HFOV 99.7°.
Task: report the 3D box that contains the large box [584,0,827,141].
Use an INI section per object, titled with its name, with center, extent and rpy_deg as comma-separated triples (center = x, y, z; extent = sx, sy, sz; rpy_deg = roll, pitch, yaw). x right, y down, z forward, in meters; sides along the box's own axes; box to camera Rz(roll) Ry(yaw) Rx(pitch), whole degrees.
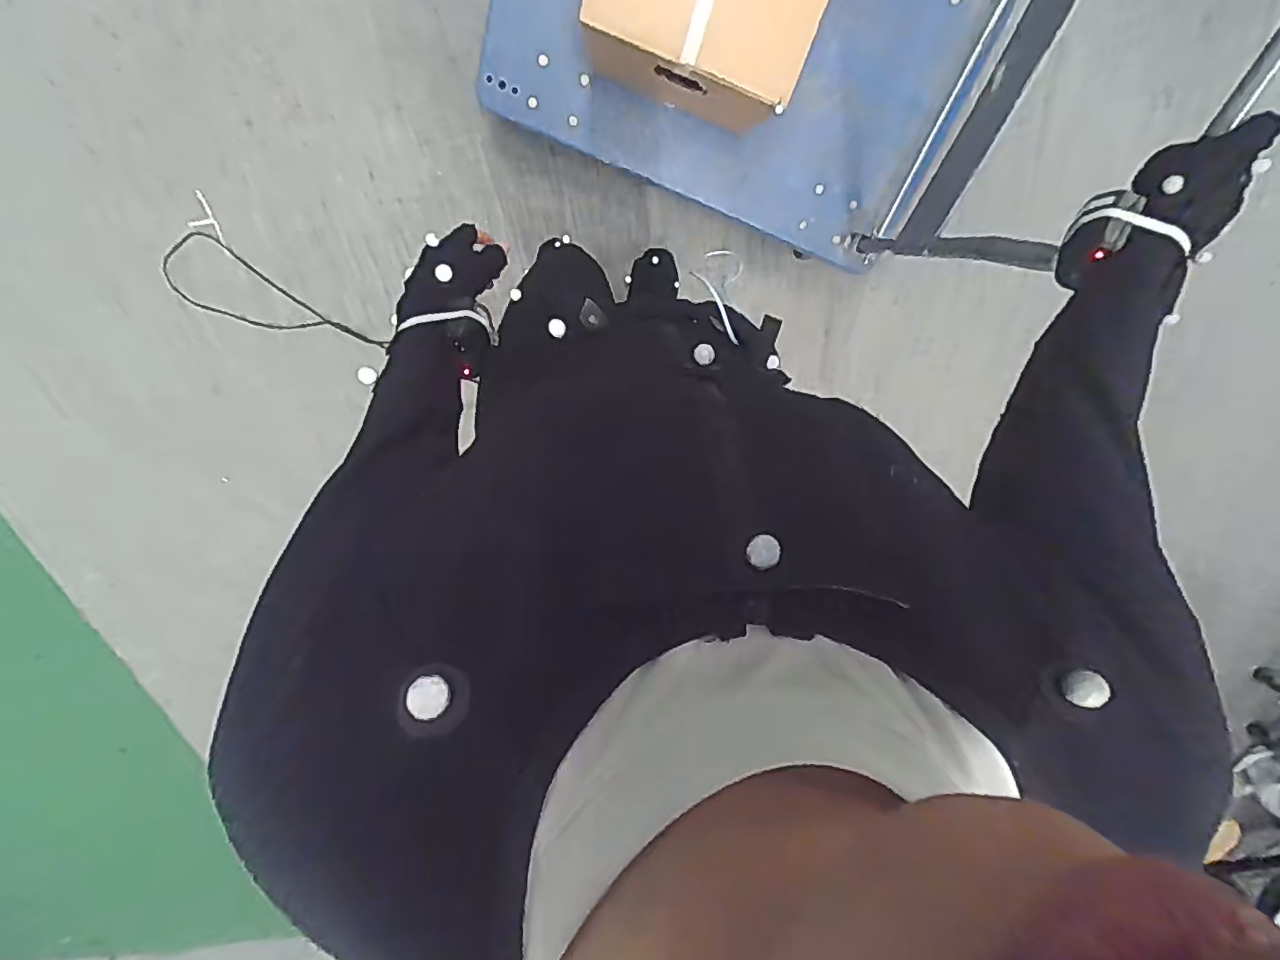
[large box]
center = 0.123, -0.805, 0.819
extent = 0.320, 0.320, 0.408
rpy_deg = 17, 115, -8
